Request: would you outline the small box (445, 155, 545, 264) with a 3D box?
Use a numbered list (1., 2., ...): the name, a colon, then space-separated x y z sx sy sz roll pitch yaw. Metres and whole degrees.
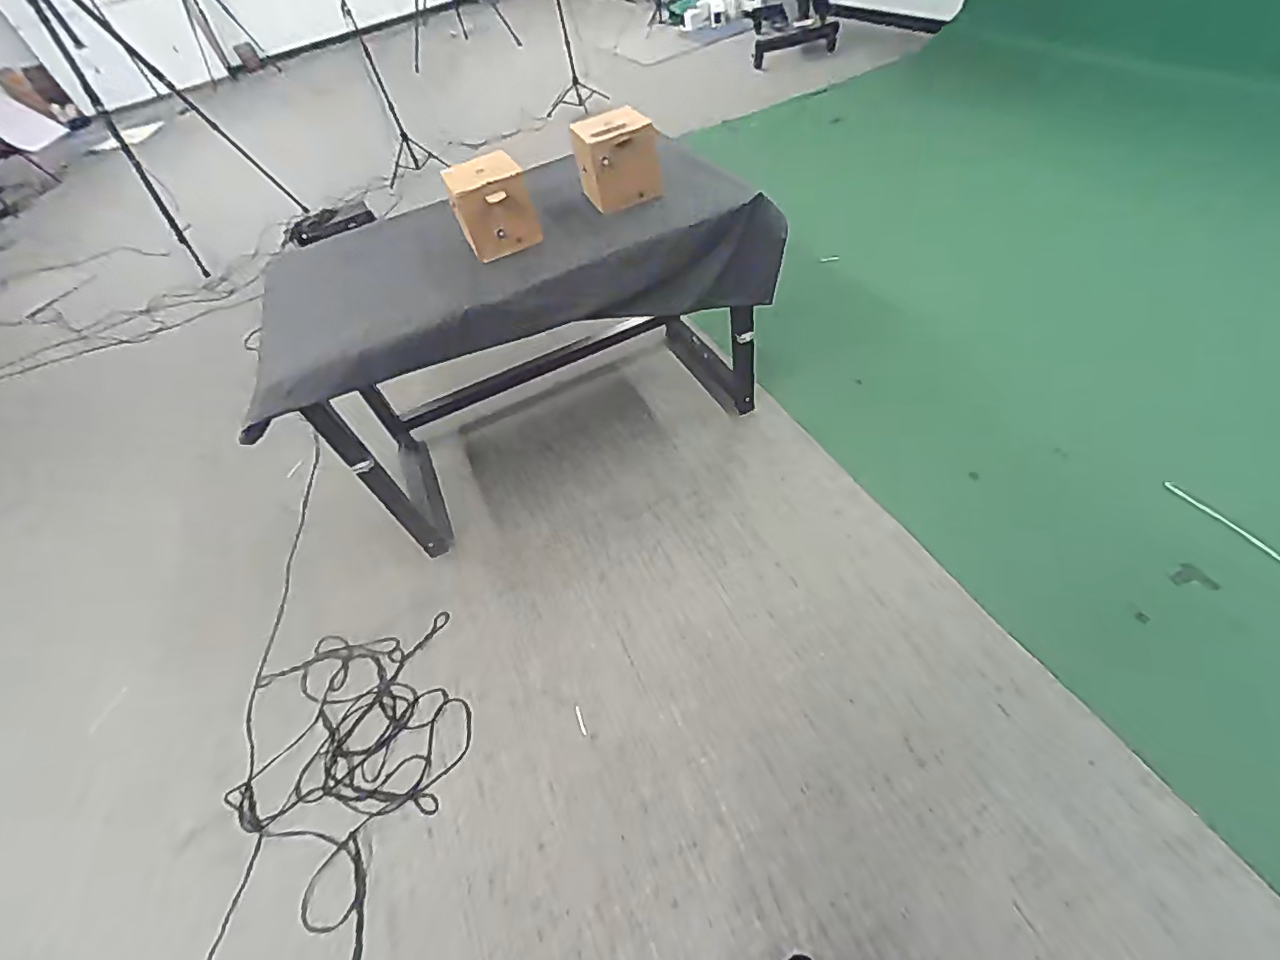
1. small box: -0.350 -0.658 1.319 0.168 0.176 0.179 -25 51 -9
